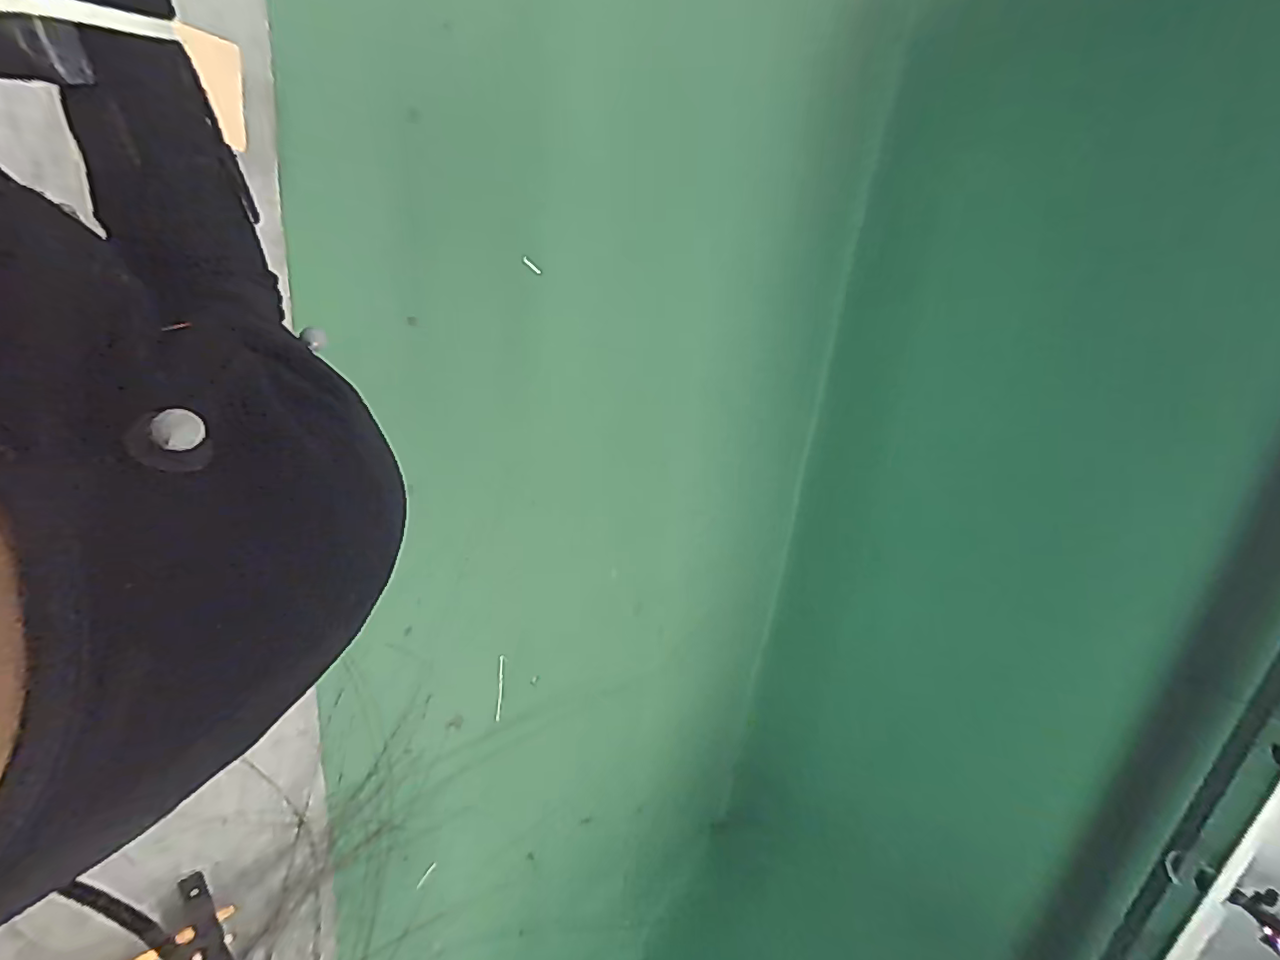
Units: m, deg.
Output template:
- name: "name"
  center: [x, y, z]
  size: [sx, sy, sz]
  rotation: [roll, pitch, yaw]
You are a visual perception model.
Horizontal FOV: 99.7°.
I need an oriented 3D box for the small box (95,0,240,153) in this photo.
- name: "small box"
  center: [-0.846, -0.709, 0.972]
  size: [0.168, 0.176, 0.179]
  rotation: [-12, 116, -48]
